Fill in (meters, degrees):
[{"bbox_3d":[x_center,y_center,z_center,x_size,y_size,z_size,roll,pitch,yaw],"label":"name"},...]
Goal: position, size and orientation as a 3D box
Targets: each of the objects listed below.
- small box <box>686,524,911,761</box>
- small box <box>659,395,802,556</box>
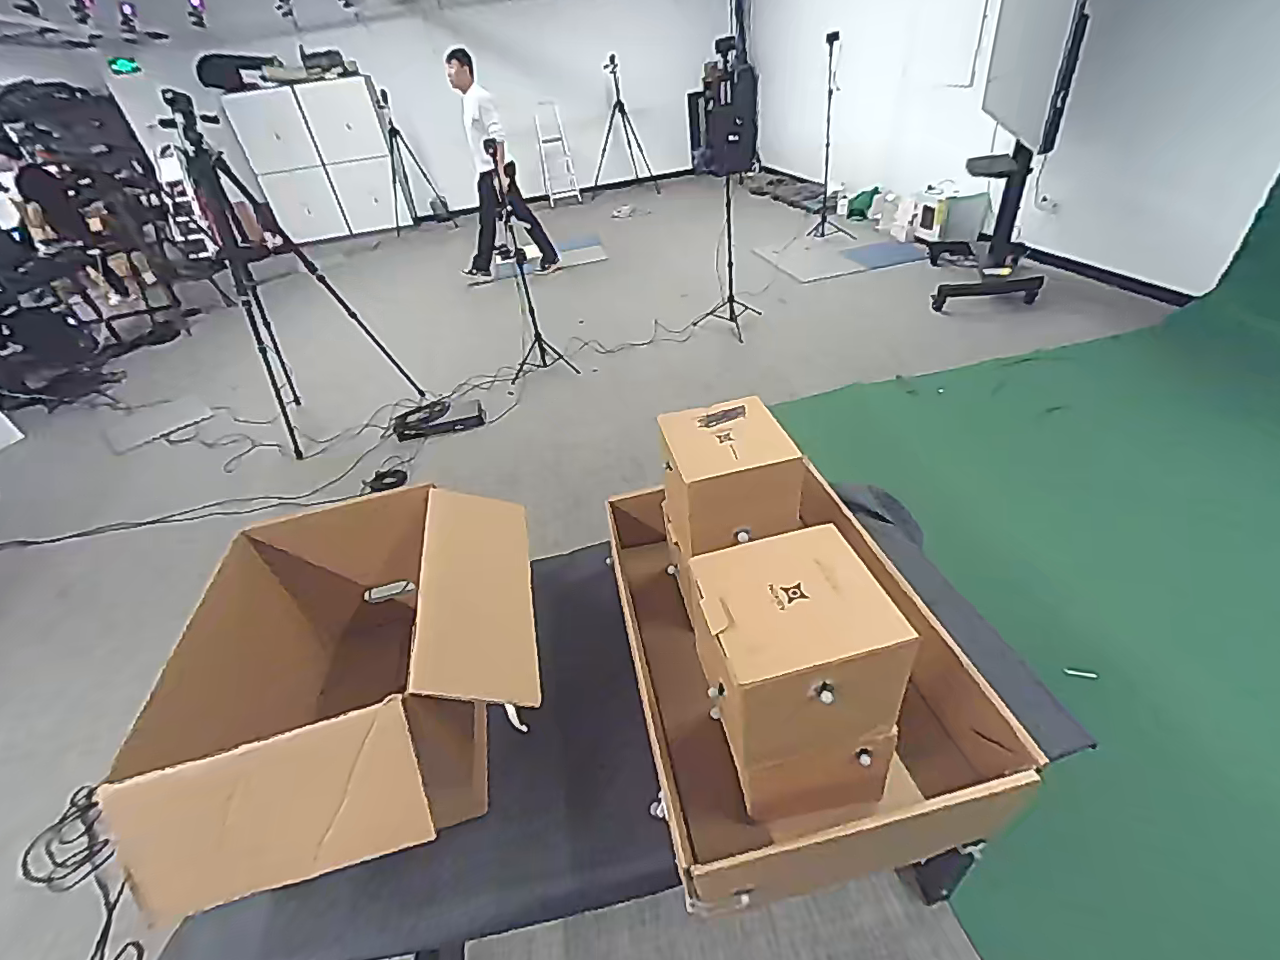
[{"bbox_3d":[0.161,0.179,0.597,0.179,0.176,0.168,-13,39,-5],"label":"small box"},{"bbox_3d":[0.130,-0.004,0.826,0.168,0.176,0.179,-13,40,-4],"label":"small box"}]
